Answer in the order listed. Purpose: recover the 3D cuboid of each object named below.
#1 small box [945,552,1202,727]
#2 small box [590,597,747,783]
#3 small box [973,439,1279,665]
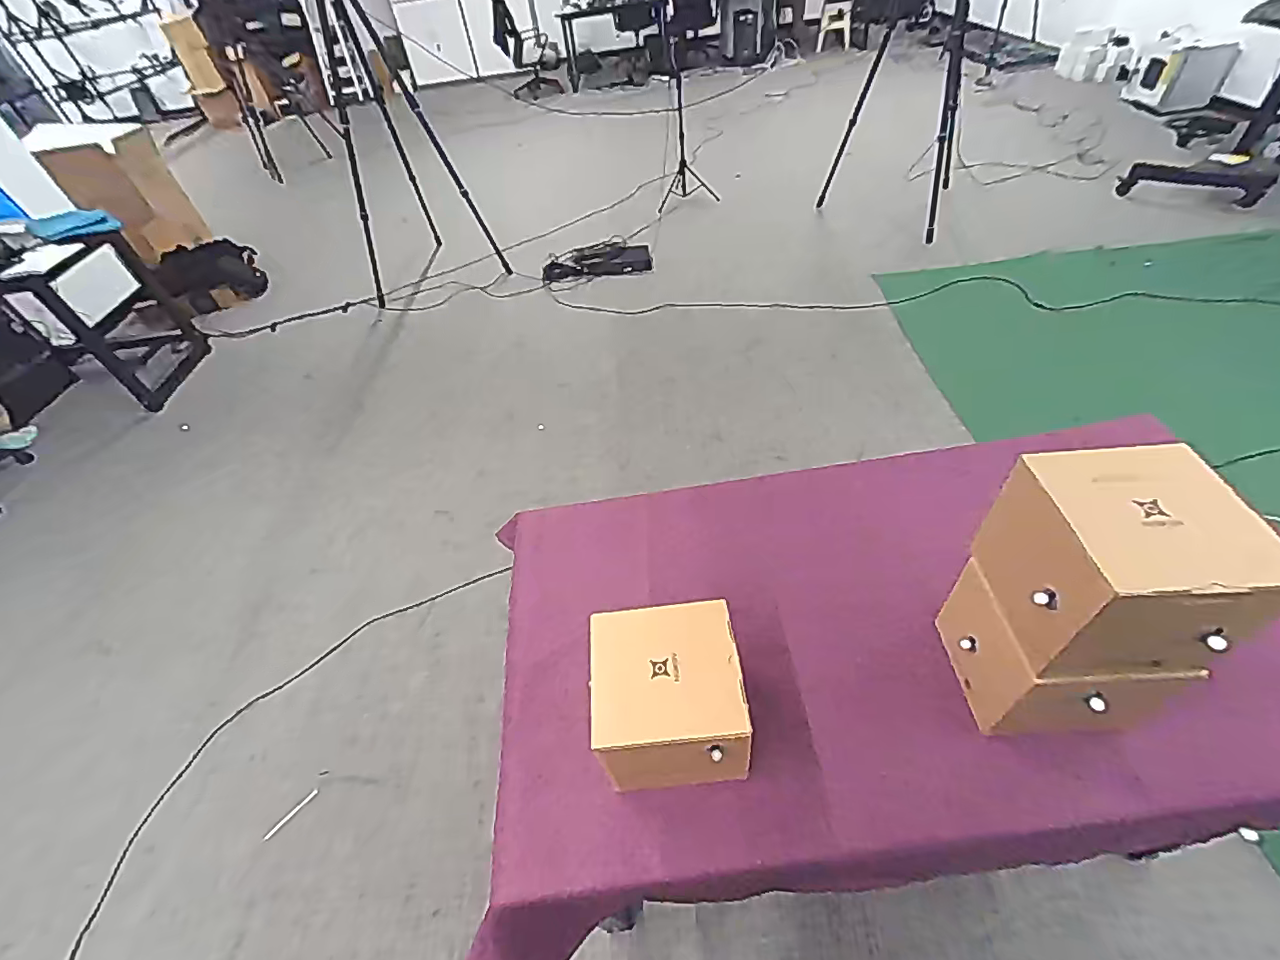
[{"bbox_3d":[0.509,0.198,0.677,0.179,0.176,0.168,-5,47,6],"label":"small box"},{"bbox_3d":[0.037,0.273,0.695,0.179,0.176,0.168,-7,46,2],"label":"small box"},{"bbox_3d":[0.488,0.081,0.565,0.168,0.176,0.179,-4,46,6],"label":"small box"}]
